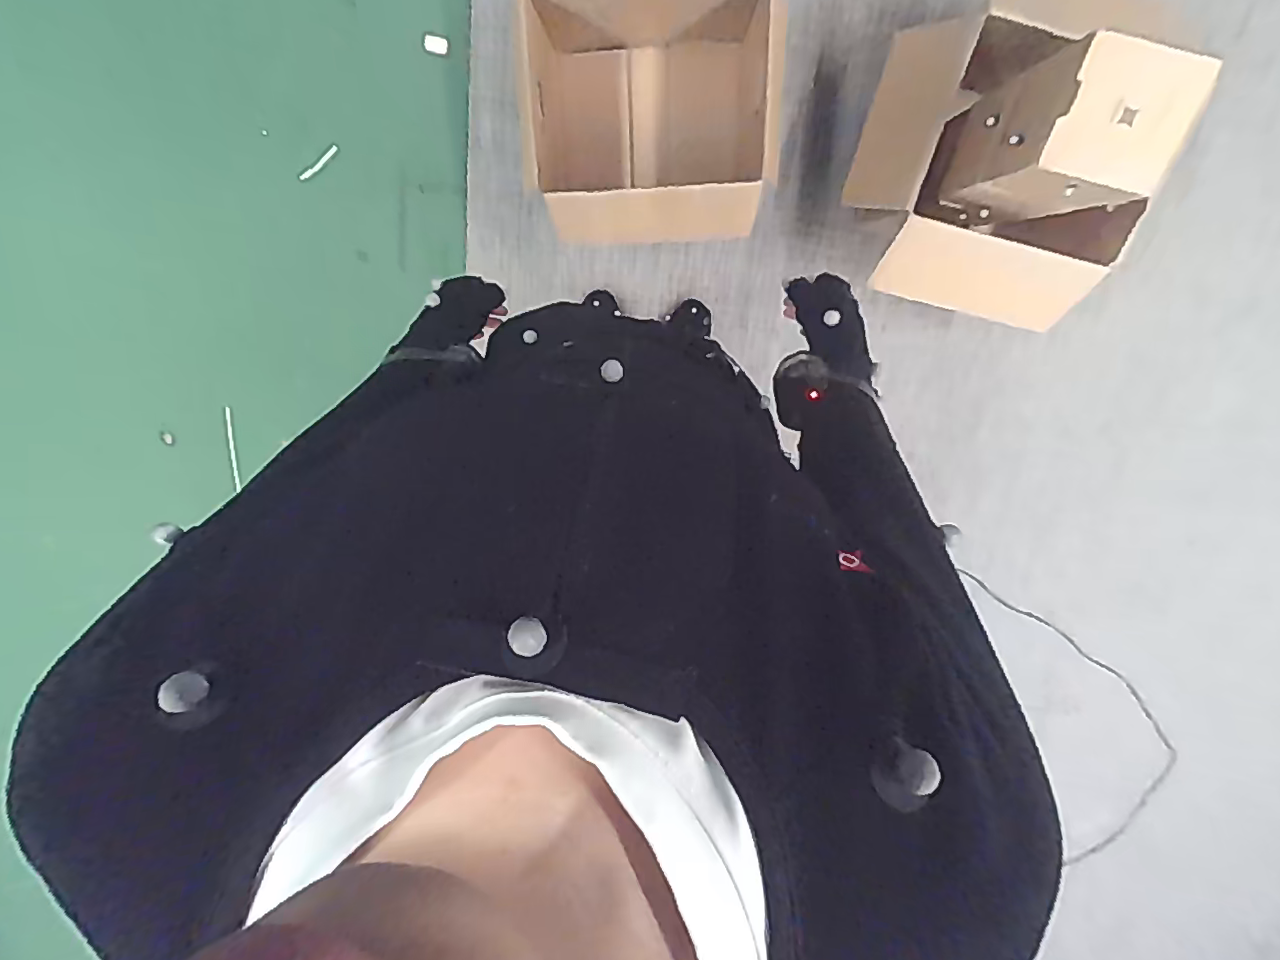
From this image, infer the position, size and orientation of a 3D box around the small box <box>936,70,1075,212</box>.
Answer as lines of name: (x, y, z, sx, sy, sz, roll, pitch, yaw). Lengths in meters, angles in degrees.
small box: (0.681, -0.594, 0.973, 0.179, 0.176, 0.168, 13, 110, -1)

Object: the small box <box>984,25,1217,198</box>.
small box: (0.671, -0.541, 0.820, 0.179, 0.176, 0.168, 13, 112, -1)
